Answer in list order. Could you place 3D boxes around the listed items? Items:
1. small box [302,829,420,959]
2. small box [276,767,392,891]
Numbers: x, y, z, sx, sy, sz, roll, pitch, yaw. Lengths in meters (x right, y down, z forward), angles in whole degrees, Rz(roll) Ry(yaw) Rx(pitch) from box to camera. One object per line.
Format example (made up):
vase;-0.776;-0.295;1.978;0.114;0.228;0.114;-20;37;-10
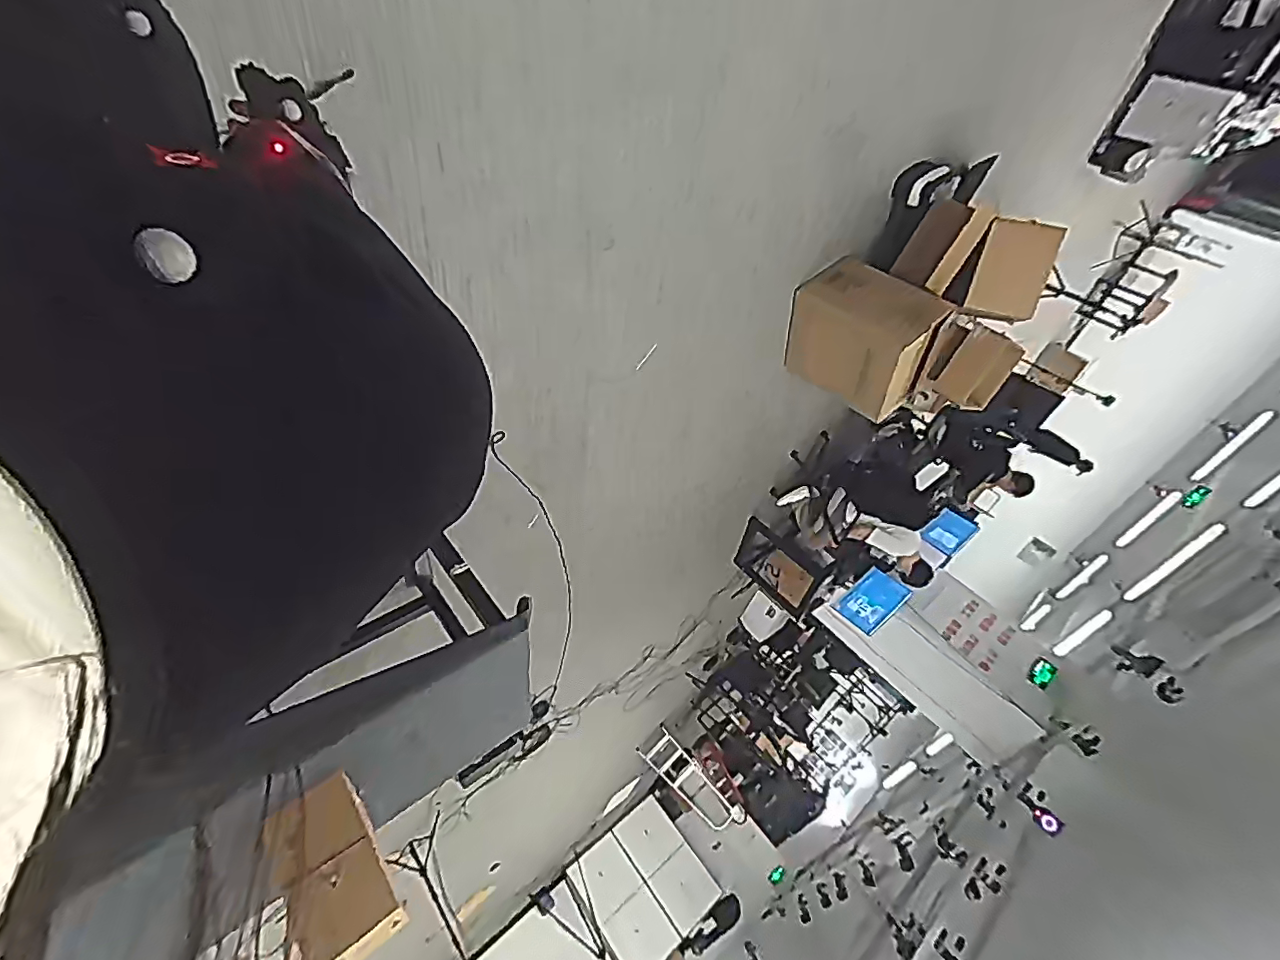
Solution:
small box;-0.604;0.907;1.168;0.179;0.176;0.168;-25;145;-33
small box;-0.709;0.812;1.250;0.179;0.176;0.168;-29;147;-32
